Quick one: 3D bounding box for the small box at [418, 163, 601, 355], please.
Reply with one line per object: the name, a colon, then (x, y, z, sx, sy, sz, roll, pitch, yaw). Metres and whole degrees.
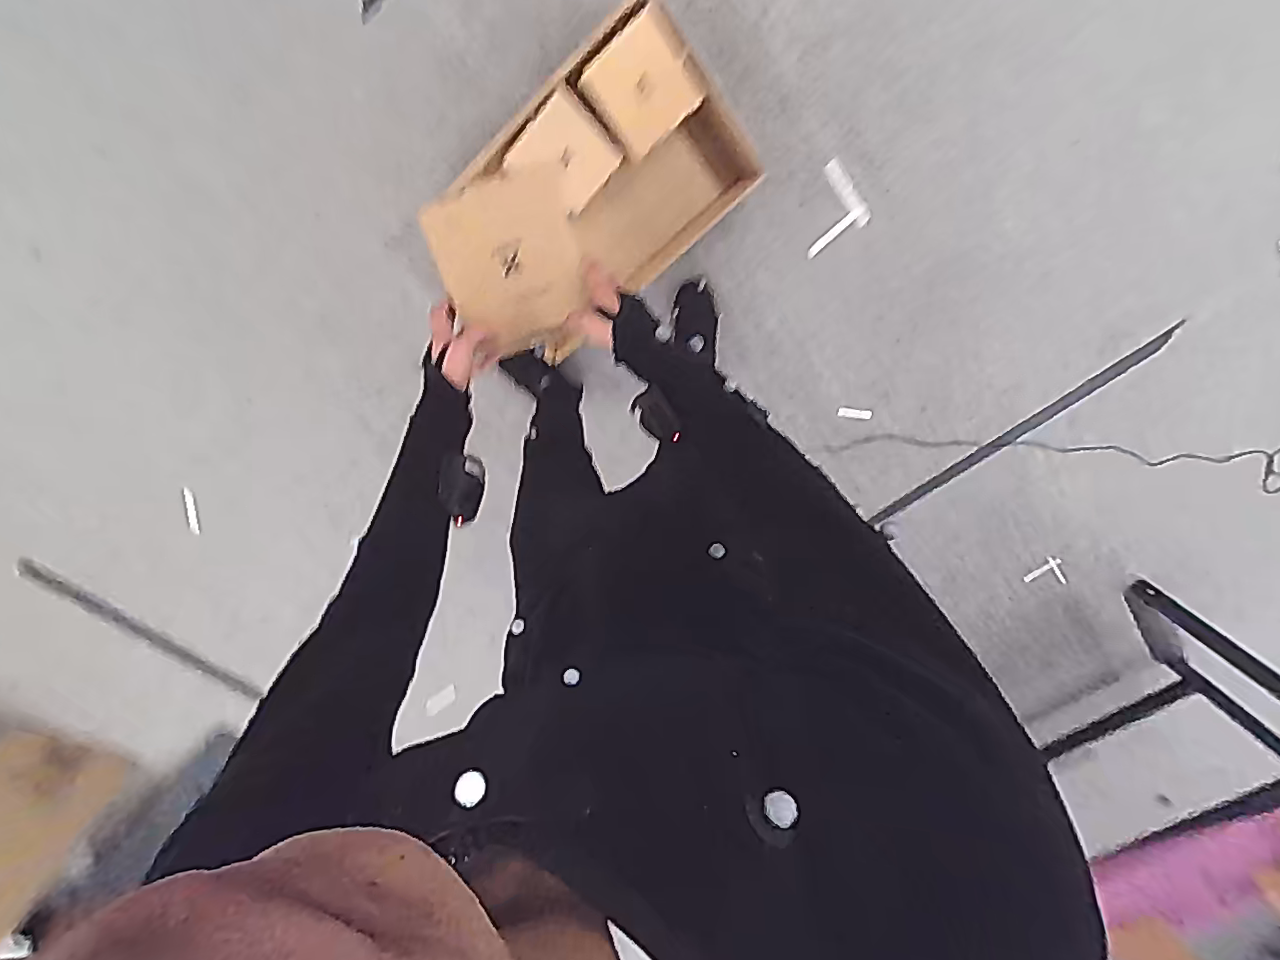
small box: (-0.157, -0.273, 0.712, 0.168, 0.176, 0.179, -20, 103, 1)

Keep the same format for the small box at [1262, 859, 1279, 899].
small box: (1.914, 1.167, 1.509, 0.168, 0.176, 0.179, -38, 115, 15)

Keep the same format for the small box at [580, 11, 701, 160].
small box: (-0.006, -0.772, 1.084, 0.168, 0.176, 0.179, -37, 117, 15)
